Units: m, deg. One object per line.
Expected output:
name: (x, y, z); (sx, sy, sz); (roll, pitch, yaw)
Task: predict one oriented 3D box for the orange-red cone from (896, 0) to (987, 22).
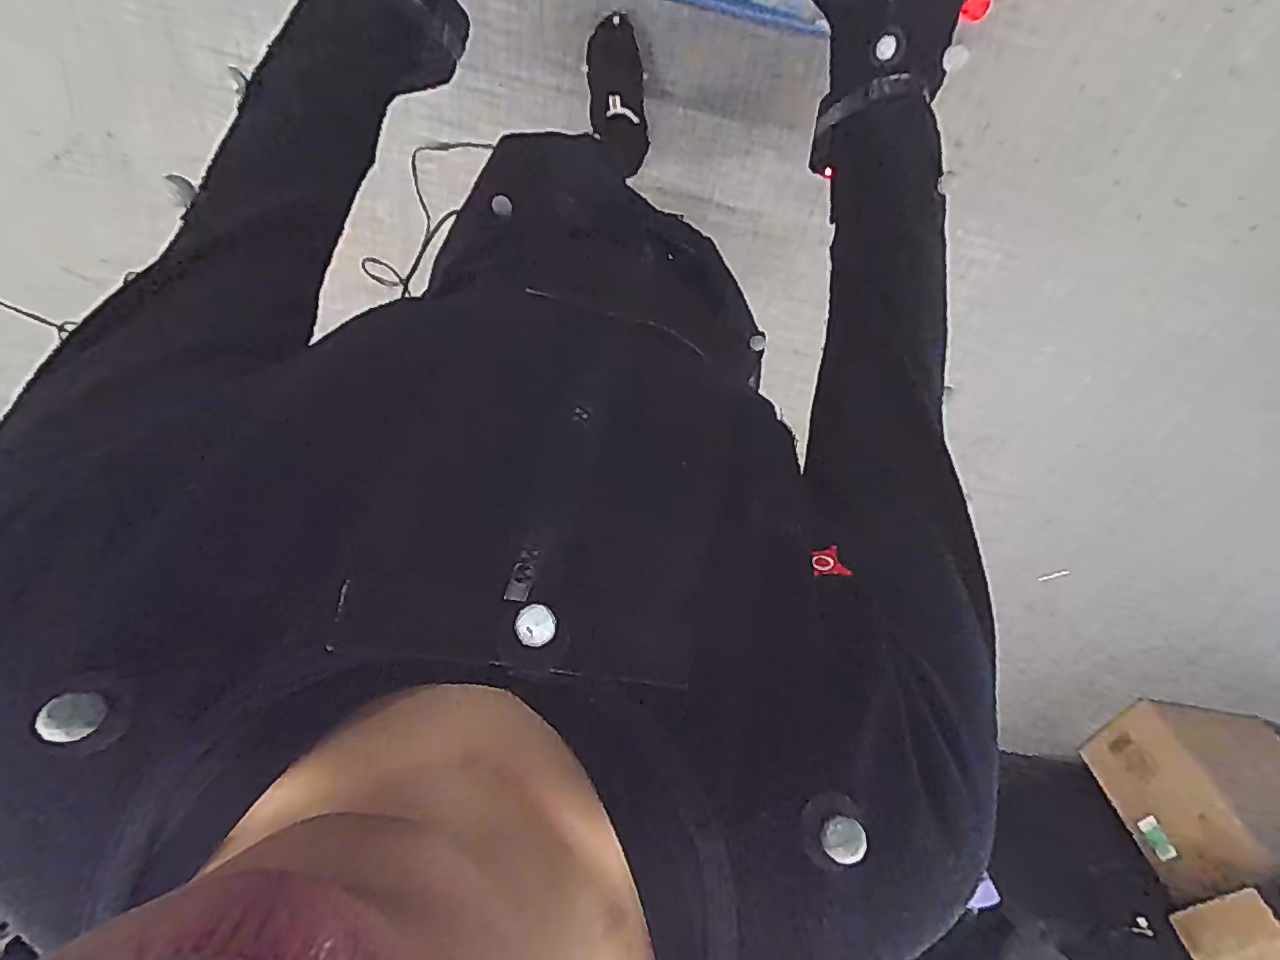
orange-red cone: (0.553, -0.864, 0.823); (0.199, 0.360, 0.198); (13, 125, -4)
